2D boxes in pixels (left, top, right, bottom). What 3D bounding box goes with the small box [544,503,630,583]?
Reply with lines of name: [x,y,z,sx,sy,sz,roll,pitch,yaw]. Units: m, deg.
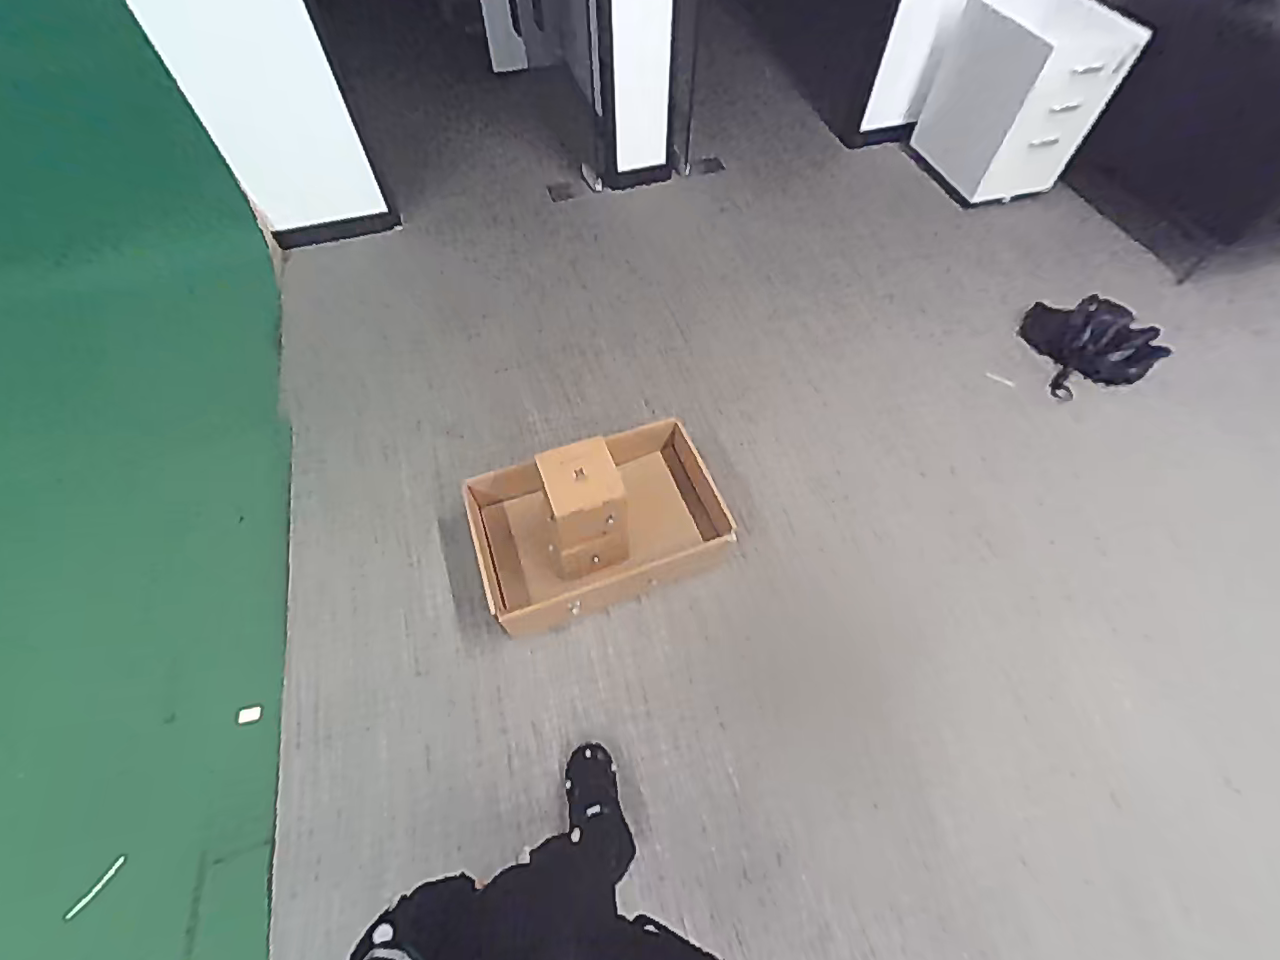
small box: [-0.133,0.140,1.393,0.179,0.176,0.168,-19,59,-11]

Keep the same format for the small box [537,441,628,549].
small box: [-0.131,0.043,1.264,0.168,0.176,0.179,-16,57,-13]
